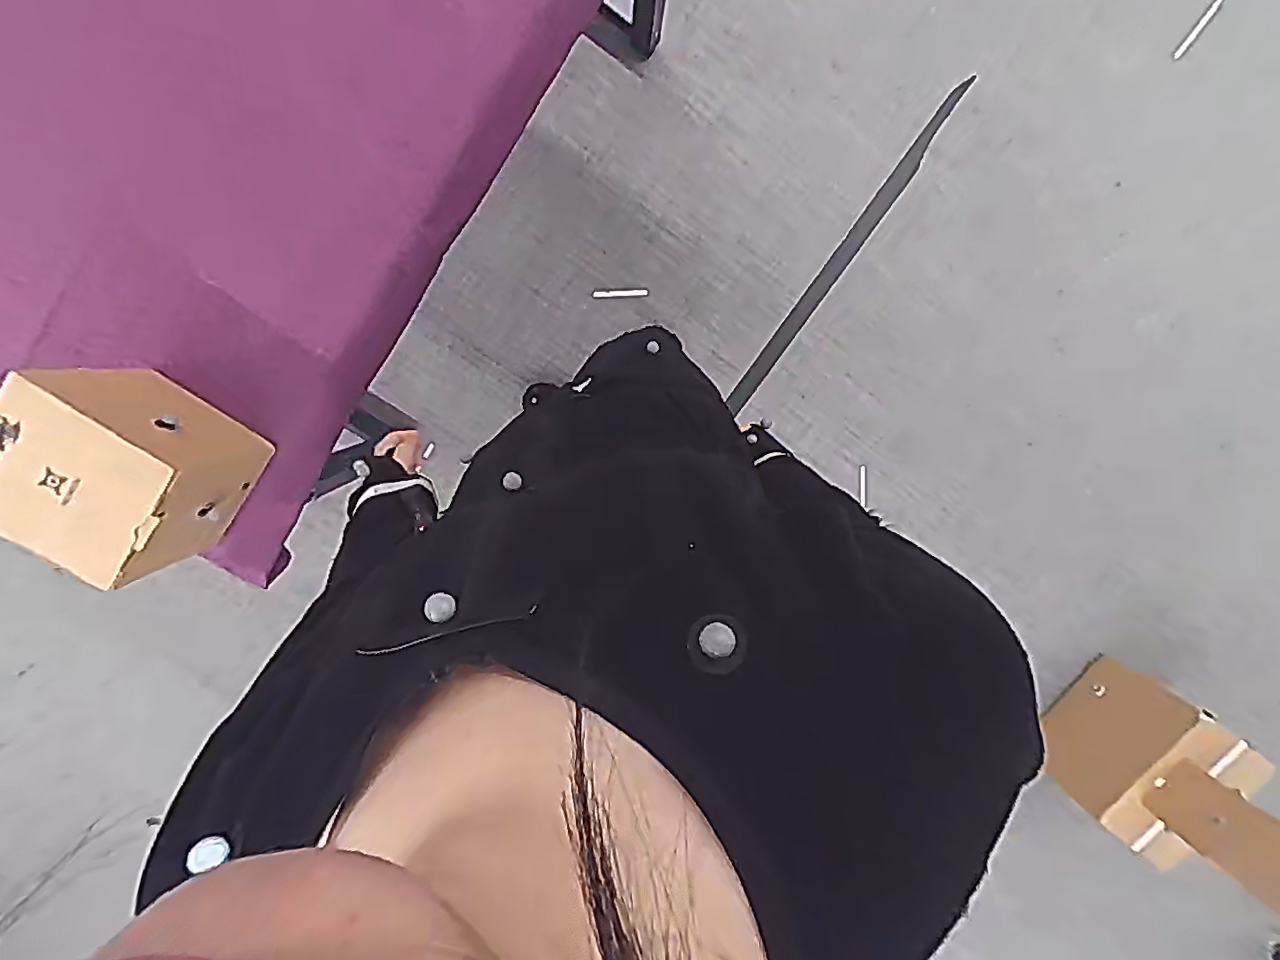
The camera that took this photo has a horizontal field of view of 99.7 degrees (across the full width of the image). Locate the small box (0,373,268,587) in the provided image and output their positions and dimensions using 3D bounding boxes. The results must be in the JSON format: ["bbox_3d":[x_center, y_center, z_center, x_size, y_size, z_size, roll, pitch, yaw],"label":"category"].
[{"bbox_3d":[-0.590,-0.014,0.630,0.179,0.176,0.168,35,98,-10],"label":"small box"}]

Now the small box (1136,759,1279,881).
[{"bbox_3d":[1.456,0.864,1.392,0.168,0.176,0.179,33,100,-9],"label":"small box"}]
